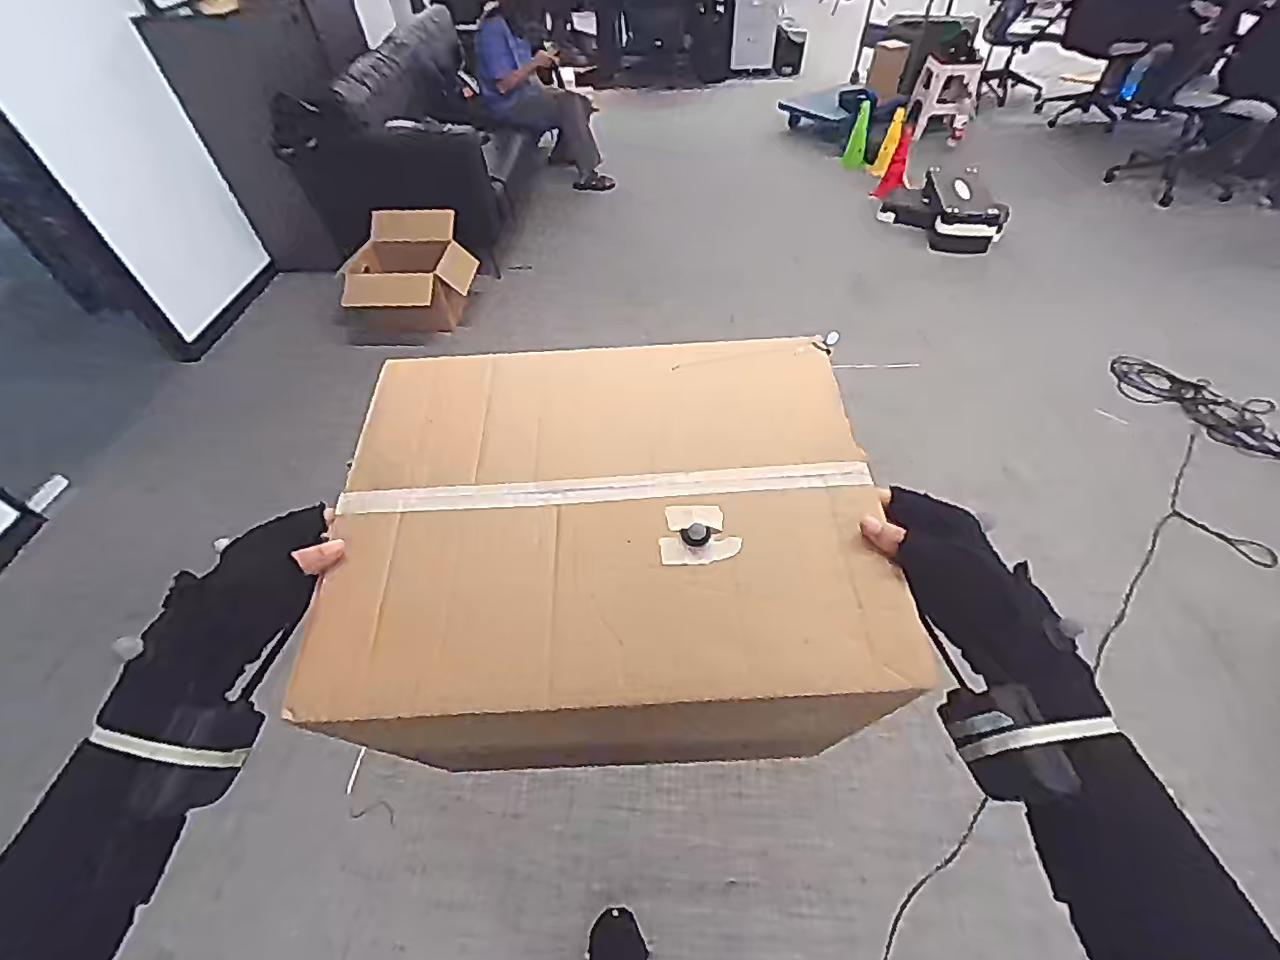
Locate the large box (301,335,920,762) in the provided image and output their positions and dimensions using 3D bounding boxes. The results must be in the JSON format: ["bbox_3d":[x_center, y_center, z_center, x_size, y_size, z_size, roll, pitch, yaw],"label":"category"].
[{"bbox_3d":[-0.023,0.084,0.545,0.408,0.320,0.320,-3,58,-1],"label":"large box"}]
